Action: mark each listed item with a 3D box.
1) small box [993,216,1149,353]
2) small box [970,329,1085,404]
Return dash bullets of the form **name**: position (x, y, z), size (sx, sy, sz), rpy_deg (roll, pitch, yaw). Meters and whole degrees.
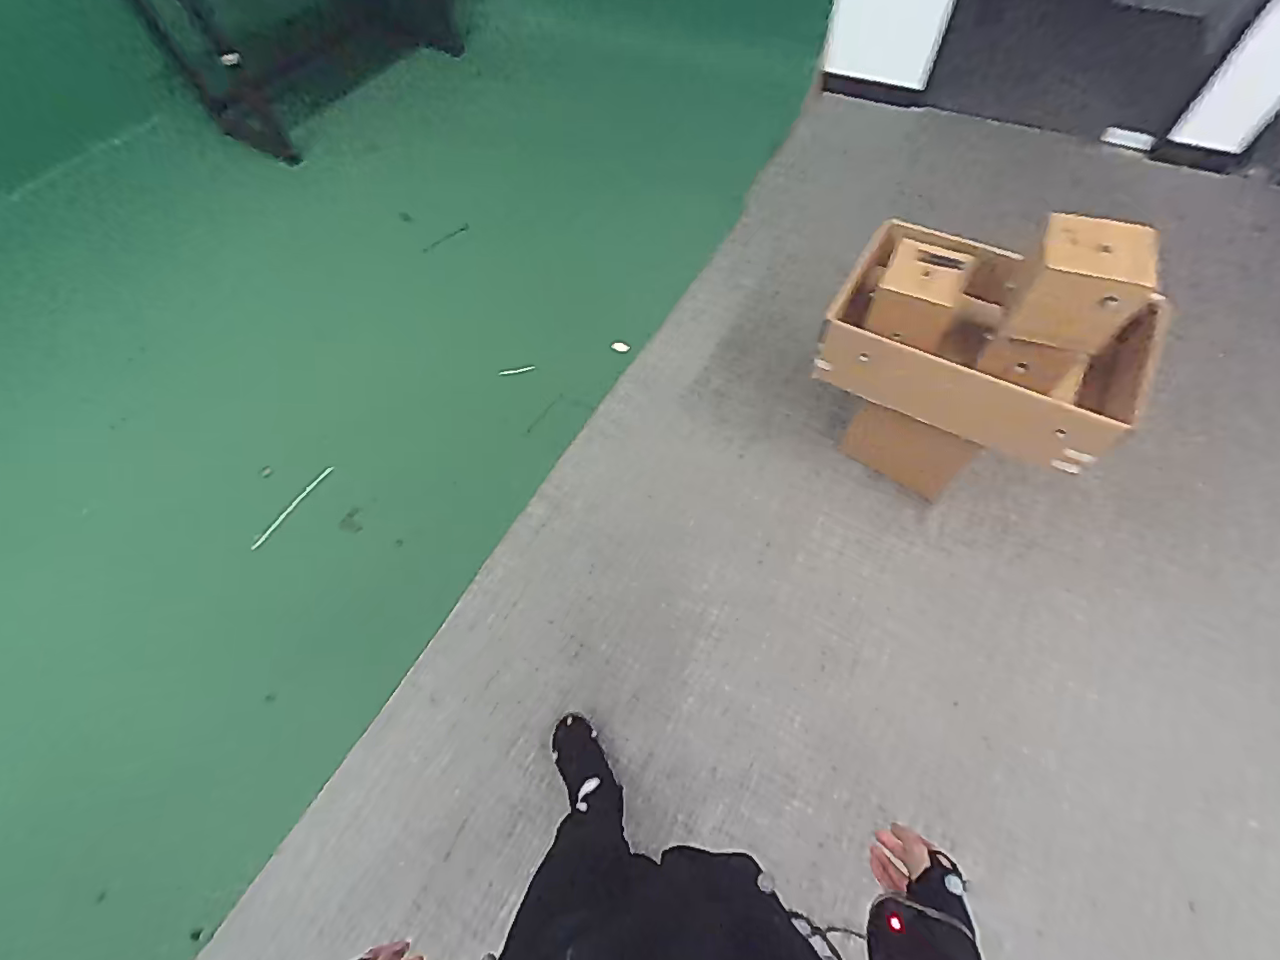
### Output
- **small box**: position (0.825, -0.372, 1.045), size (0.179, 0.176, 0.168), rpy_deg (18, 63, 15)
- **small box**: position (0.866, -0.300, 1.191), size (0.168, 0.176, 0.179), rpy_deg (36, 70, 22)
